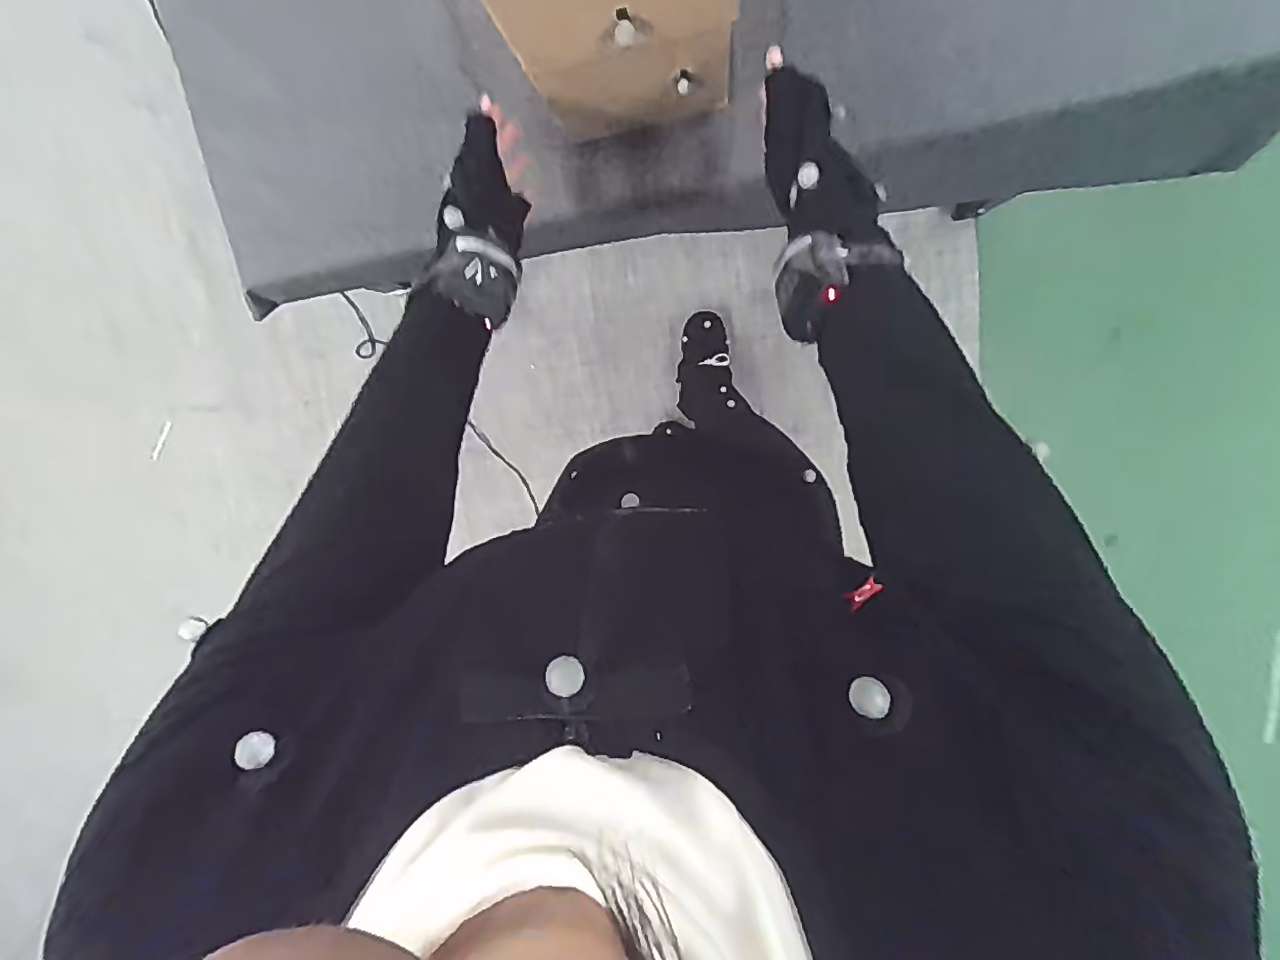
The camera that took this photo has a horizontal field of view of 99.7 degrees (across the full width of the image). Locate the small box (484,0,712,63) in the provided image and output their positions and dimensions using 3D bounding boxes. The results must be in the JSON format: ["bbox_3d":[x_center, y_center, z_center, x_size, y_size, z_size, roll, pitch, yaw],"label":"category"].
[{"bbox_3d":[-0.035,-0.414,0.343,0.179,0.176,0.168,-8,101,8],"label":"small box"}]

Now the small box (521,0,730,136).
[{"bbox_3d":[-0.017,-0.455,0.499,0.179,0.176,0.168,-9,101,10],"label":"small box"}]
